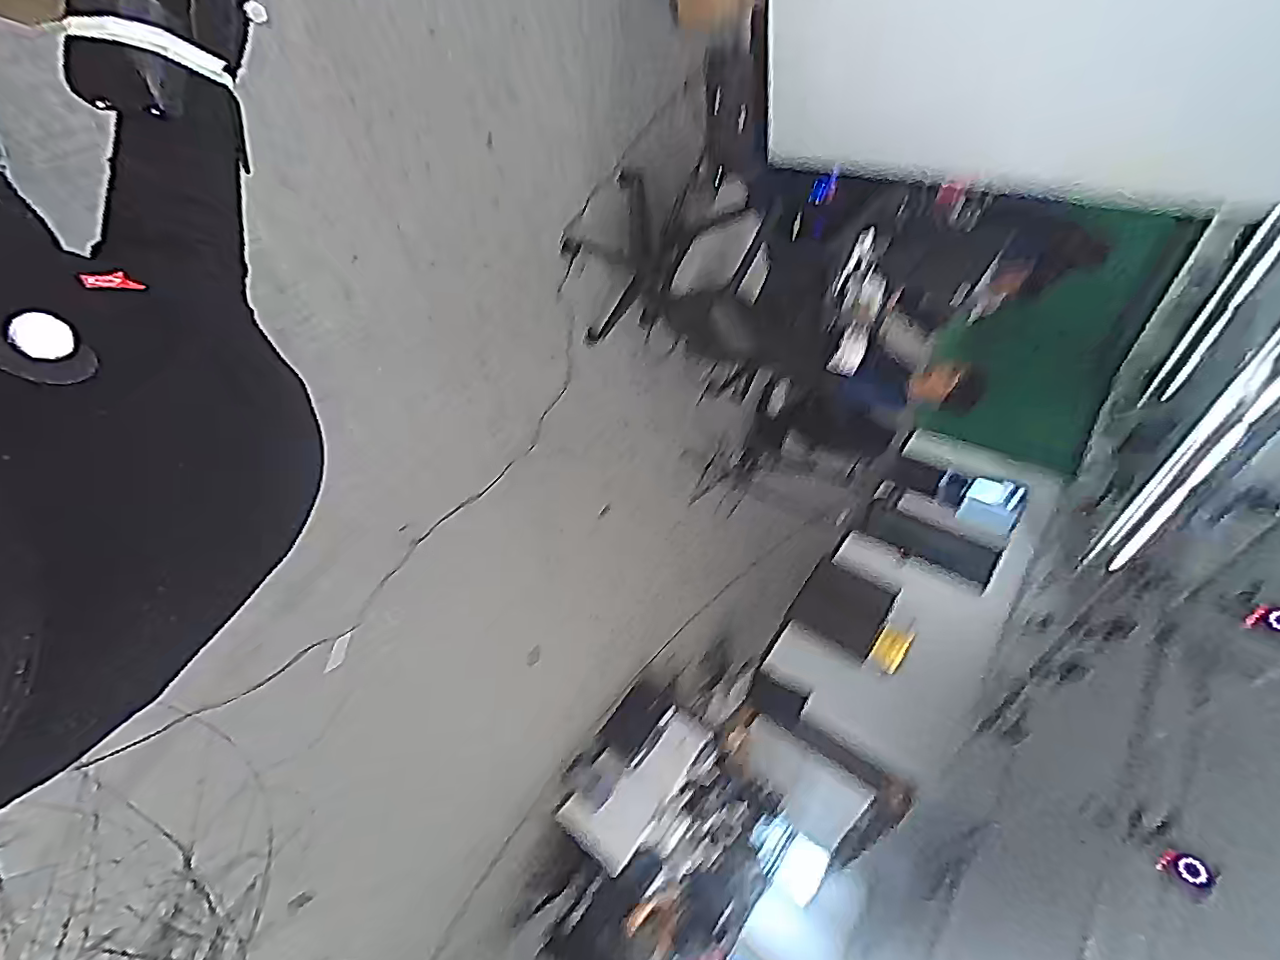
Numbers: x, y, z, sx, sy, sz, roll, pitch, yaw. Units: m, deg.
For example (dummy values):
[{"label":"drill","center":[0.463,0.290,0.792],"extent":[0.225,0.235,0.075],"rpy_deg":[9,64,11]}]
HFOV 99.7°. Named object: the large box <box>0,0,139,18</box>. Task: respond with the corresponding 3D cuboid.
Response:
[{"label":"large box","center":[-0.515,-0.473,0.211],"extent":[0.408,0.320,0.320],"rpy_deg":[-12,124,-56]}]
